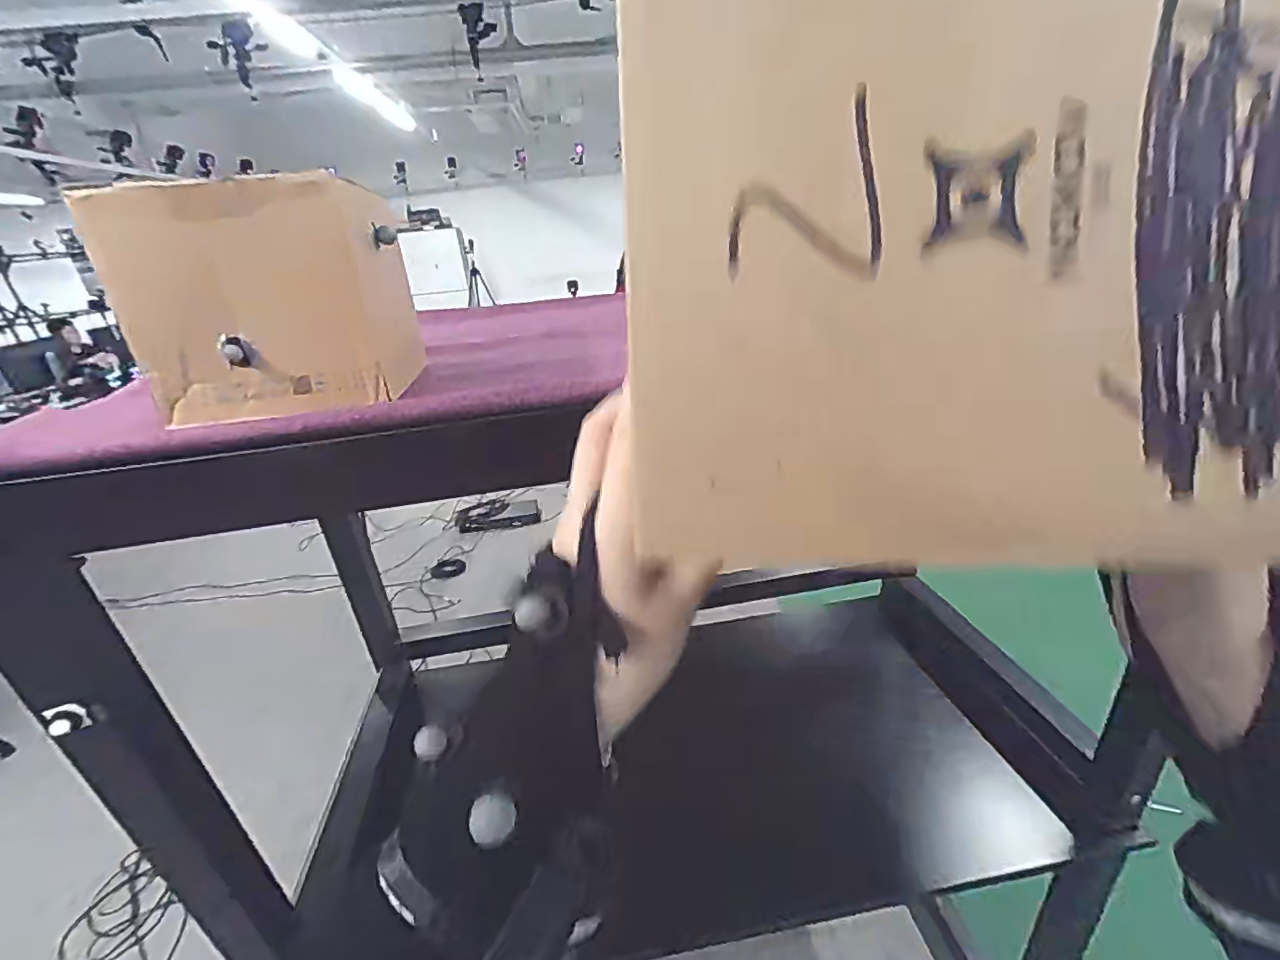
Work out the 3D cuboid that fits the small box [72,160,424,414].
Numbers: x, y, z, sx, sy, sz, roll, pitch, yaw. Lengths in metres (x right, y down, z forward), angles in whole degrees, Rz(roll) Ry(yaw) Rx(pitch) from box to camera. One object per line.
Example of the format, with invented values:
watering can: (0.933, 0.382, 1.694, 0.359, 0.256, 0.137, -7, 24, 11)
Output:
small box: (-0.296, -0.162, 0.464, 0.168, 0.176, 0.179, -9, 24, -8)
